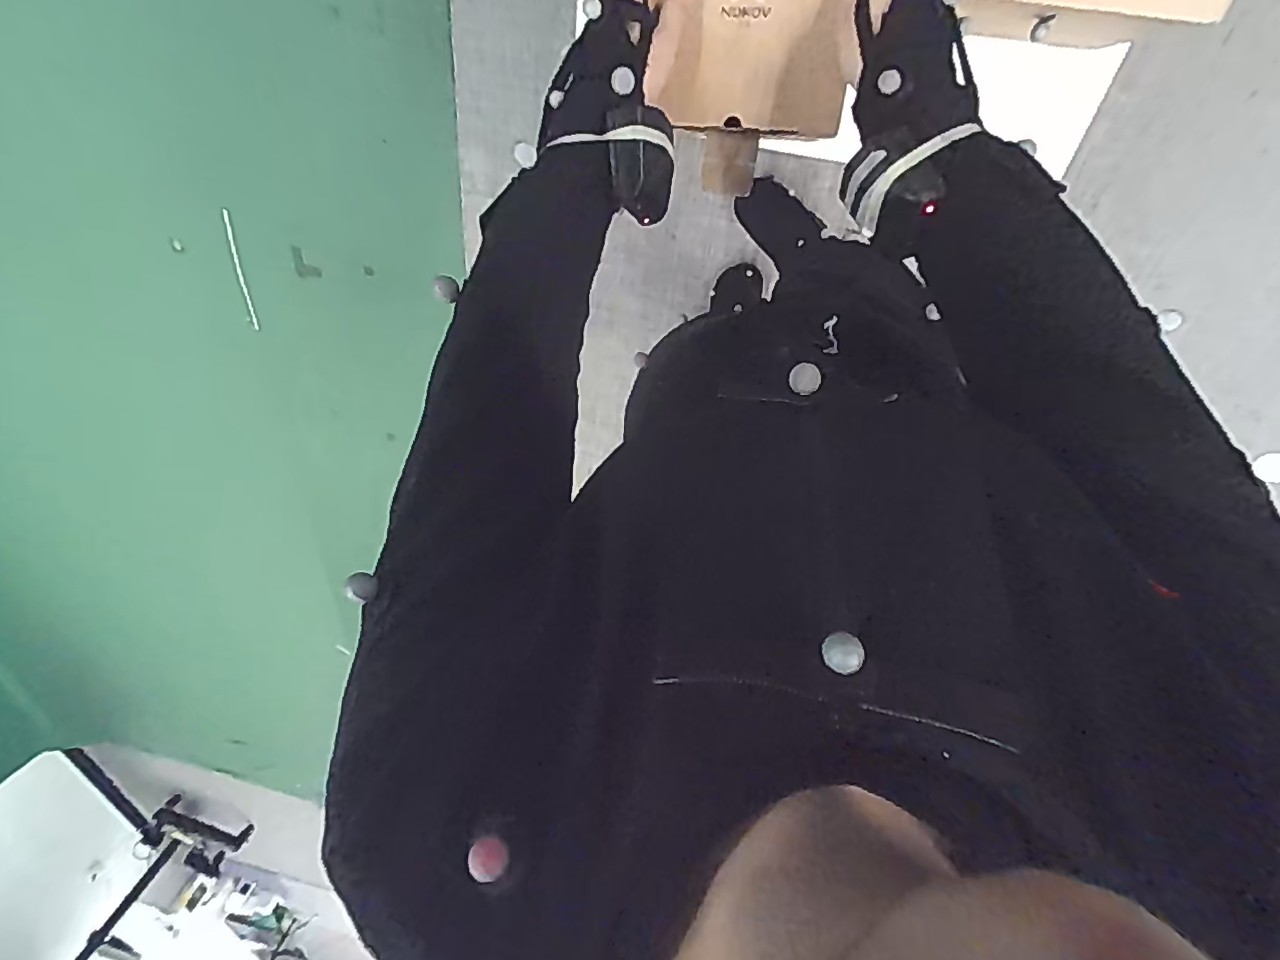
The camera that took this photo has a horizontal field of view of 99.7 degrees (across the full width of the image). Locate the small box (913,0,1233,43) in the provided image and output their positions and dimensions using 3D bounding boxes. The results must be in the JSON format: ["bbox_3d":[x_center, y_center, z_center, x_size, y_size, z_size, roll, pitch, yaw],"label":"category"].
[{"bbox_3d":[0.318,-0.424,0.377,0.179,0.176,0.168,12,126,6],"label":"small box"}]
